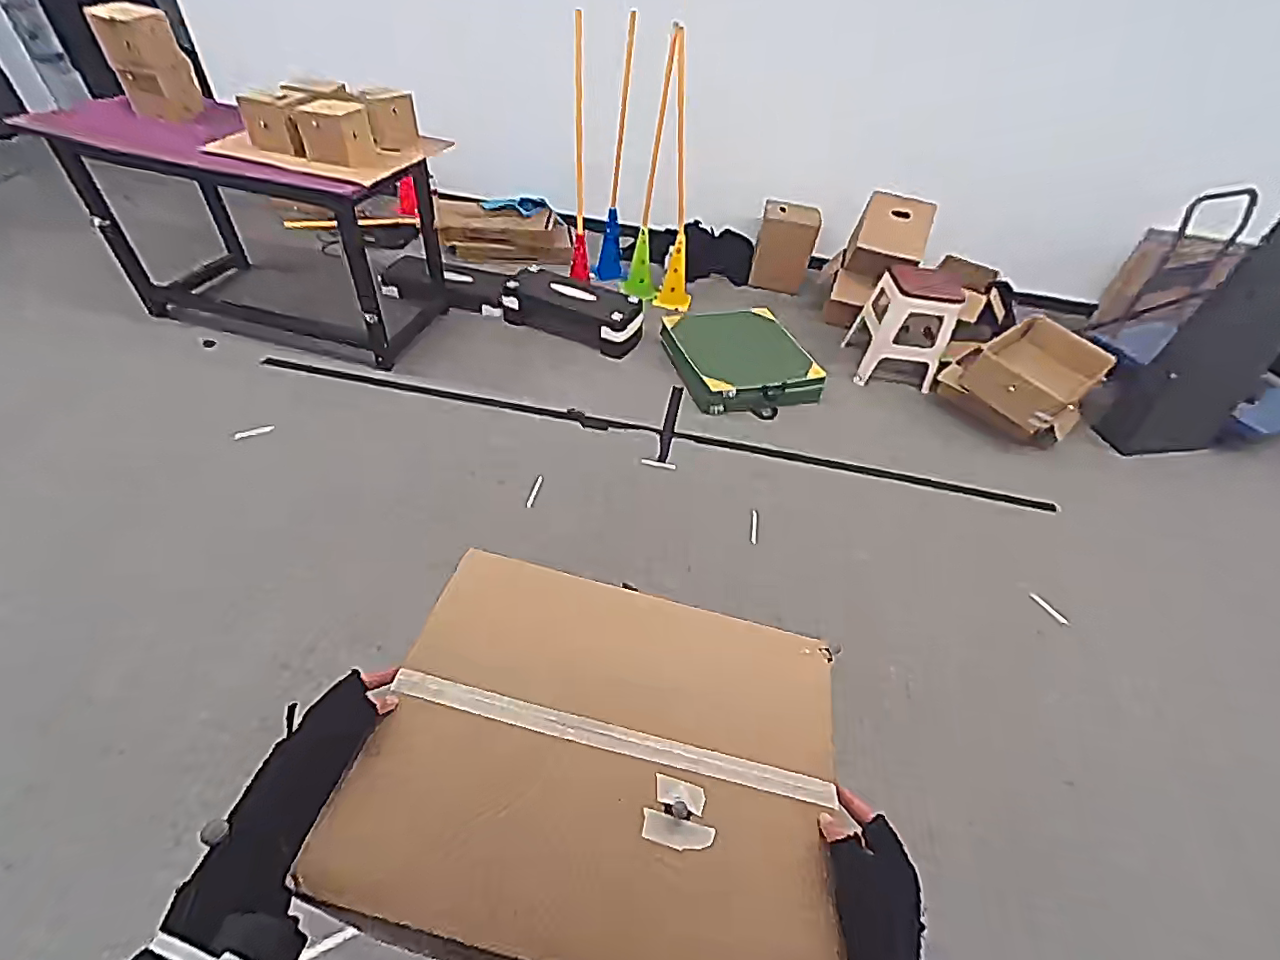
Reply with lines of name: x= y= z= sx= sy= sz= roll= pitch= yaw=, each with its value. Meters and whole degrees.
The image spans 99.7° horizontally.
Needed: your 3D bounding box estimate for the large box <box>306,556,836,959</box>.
large box: x=-0.050 y=0.335 z=0.595 sx=0.408 sy=0.320 sz=0.320 roll=15 pitch=45 yaw=2
